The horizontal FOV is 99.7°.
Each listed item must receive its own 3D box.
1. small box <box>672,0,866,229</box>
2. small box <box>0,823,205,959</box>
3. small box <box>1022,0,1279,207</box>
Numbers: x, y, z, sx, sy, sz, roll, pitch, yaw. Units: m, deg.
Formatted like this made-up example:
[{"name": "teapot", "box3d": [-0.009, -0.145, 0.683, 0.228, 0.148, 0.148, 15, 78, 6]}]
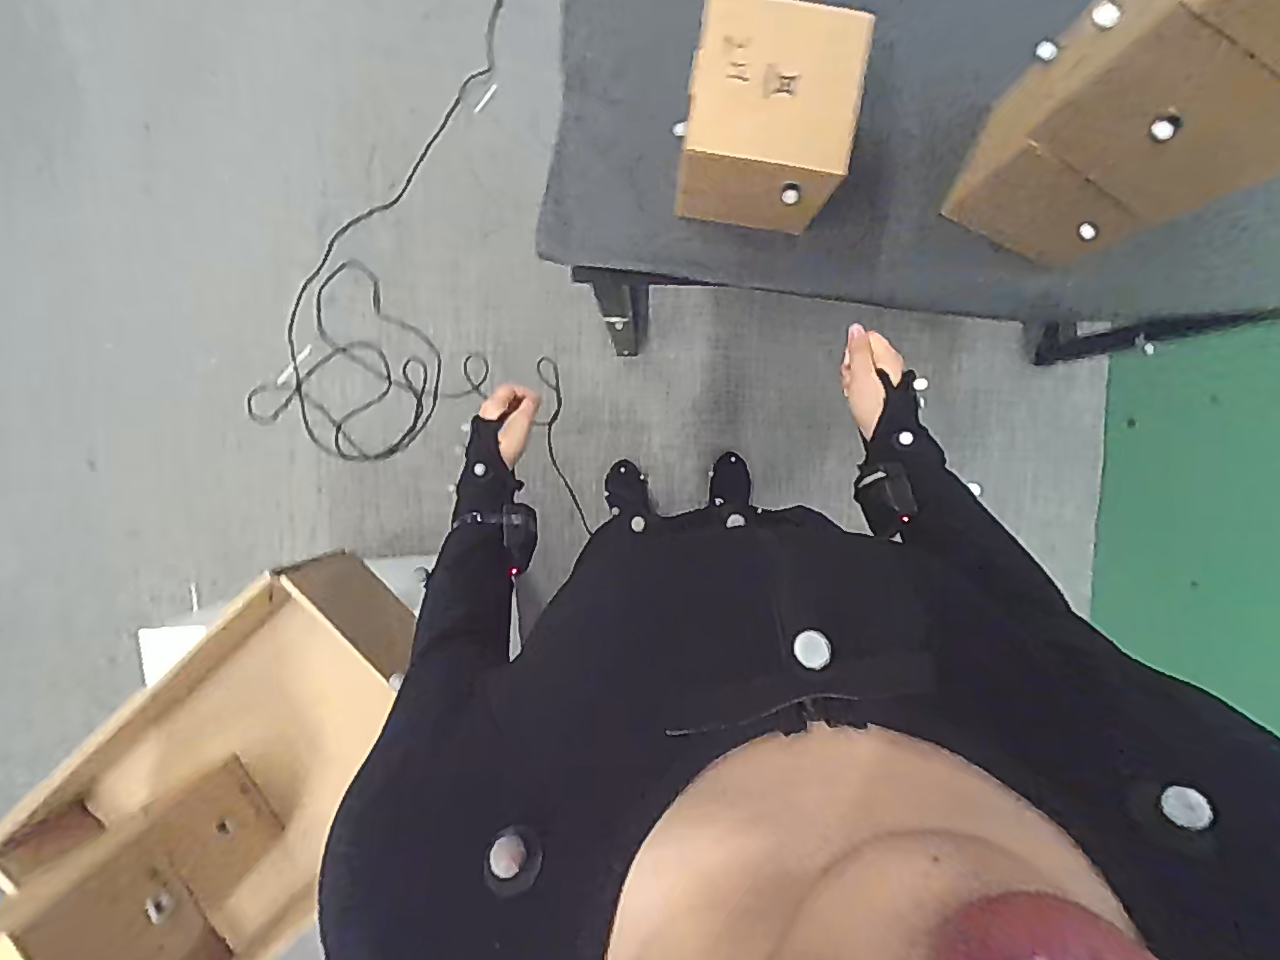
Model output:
[{"name": "small box", "box3d": [0.139, -0.420, 0.647, 0.179, 0.176, 0.168, 9, 94, 1]}, {"name": "small box", "box3d": [-0.697, 0.571, 0.654, 0.179, 0.176, 0.168, -27, 96, 1]}, {"name": "small box", "box3d": [0.503, -0.377, 0.477, 0.179, 0.176, 0.168, 34, 93, 0]}]
